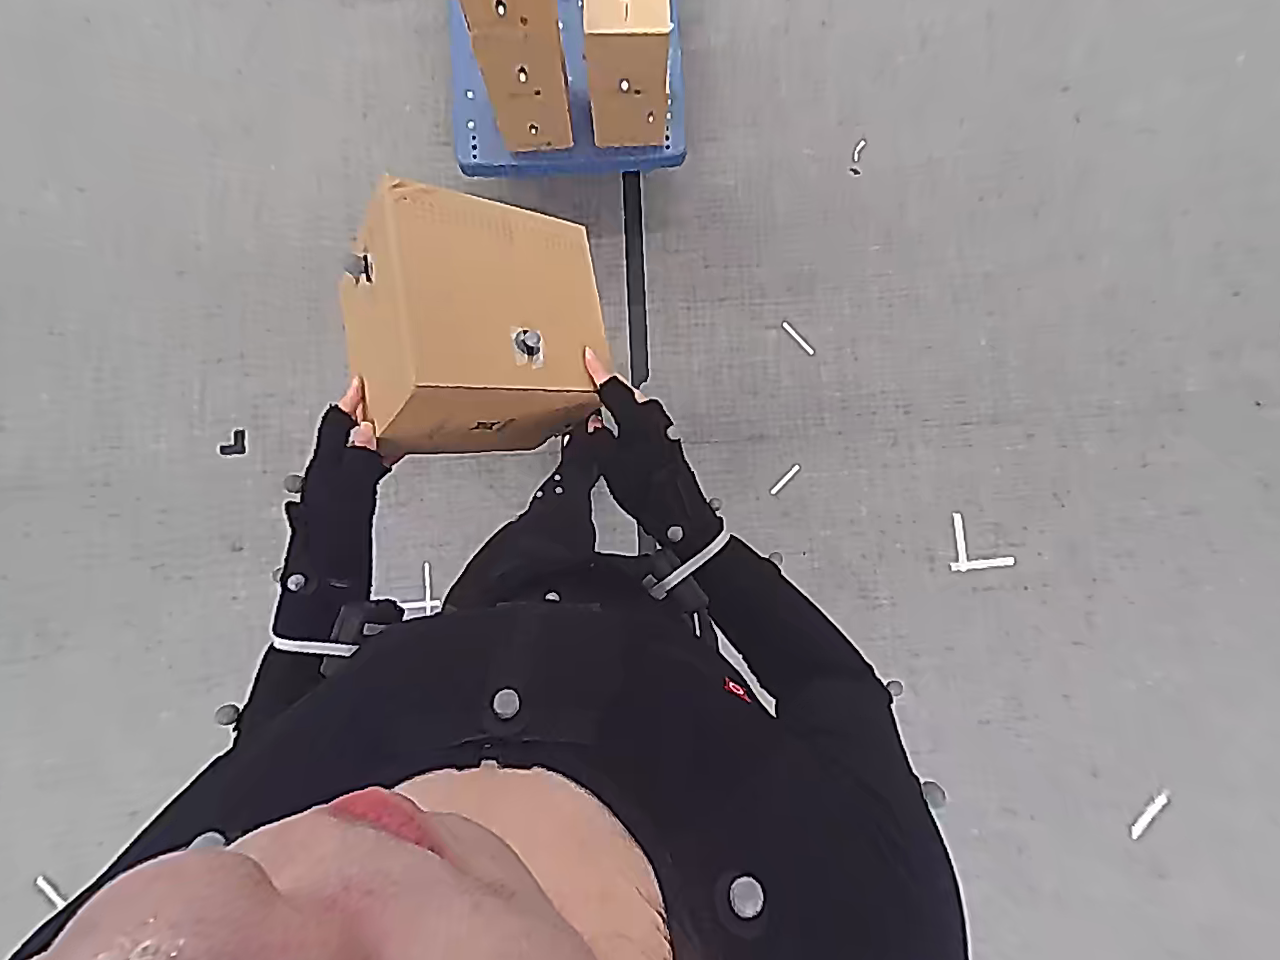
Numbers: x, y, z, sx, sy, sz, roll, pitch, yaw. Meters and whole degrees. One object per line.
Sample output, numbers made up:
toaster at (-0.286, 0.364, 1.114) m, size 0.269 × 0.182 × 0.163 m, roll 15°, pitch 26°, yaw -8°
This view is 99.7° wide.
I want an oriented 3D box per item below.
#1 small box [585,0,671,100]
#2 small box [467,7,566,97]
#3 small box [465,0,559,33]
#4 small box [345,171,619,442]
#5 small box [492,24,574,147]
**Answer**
small box at (-0.025, -0.919, 1.099) m, size 0.168 × 0.176 × 0.179 m, roll -1°, pitch 88°, yaw -1°
small box at (-0.246, -0.914, 1.095) m, size 0.168 × 0.176 × 0.179 m, roll -6°, pitch 88°, yaw -1°
small box at (-0.235, -0.926, 0.933) m, size 0.168 × 0.176 × 0.179 m, roll -4°, pitch 87°, yaw -1°
small box at (-0.147, -0.139, 0.489) m, size 0.179 × 0.168 × 0.176 m, roll -4°, pitch 79°, yaw -40°
small box at (-0.247, -0.907, 1.260) m, size 0.168 × 0.176 × 0.179 m, roll -4°, pitch 87°, yaw -2°
